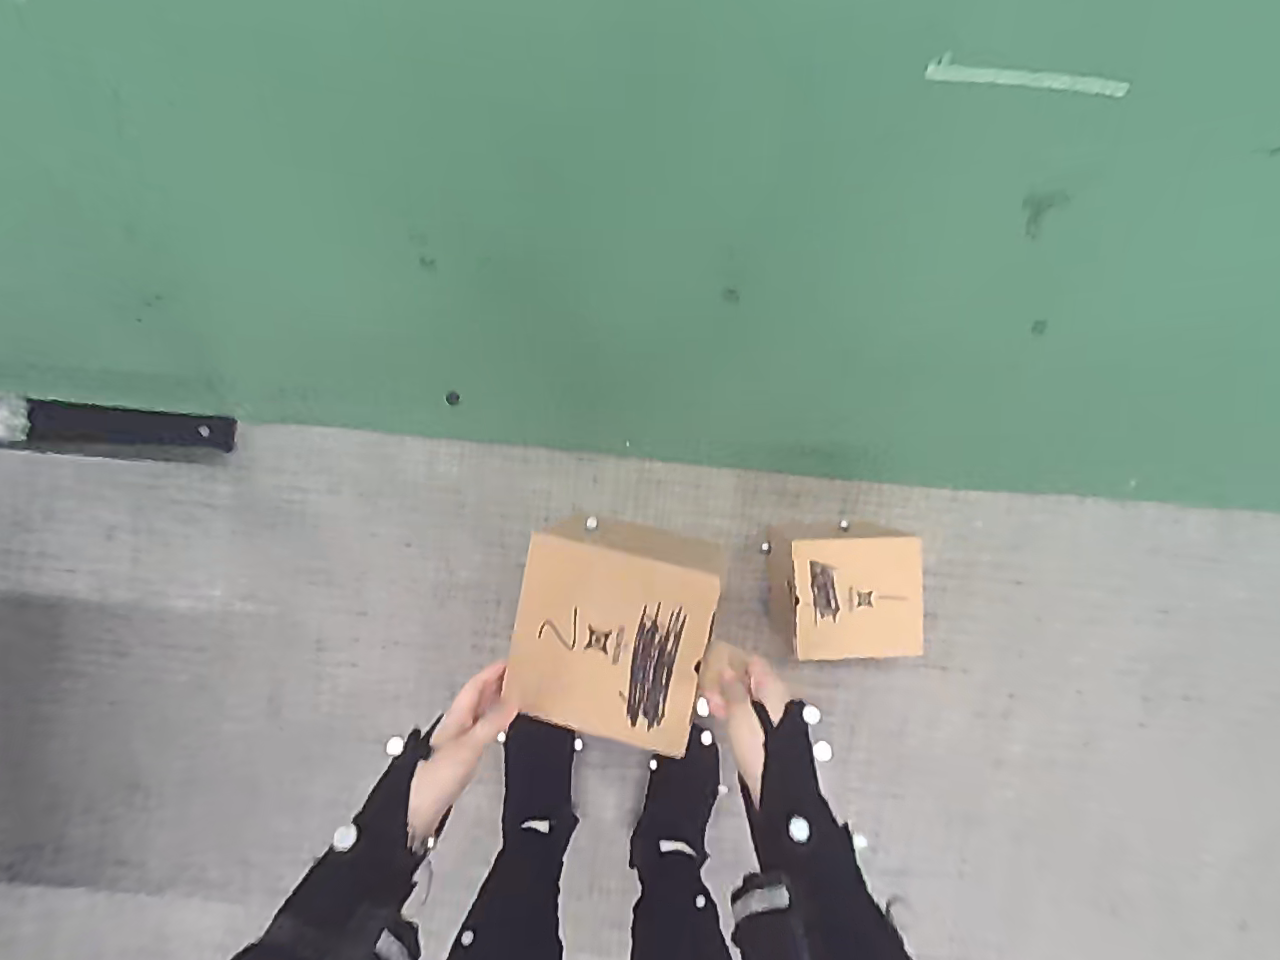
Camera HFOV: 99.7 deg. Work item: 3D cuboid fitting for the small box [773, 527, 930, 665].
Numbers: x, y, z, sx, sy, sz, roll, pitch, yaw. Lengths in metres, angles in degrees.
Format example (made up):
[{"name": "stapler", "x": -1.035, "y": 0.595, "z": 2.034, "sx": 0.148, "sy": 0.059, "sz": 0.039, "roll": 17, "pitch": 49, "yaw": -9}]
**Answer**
[{"name": "small box", "x": 0.297, "y": 0.162, "z": 0.797, "sx": 0.179, "sy": 0.176, "sz": 0.168, "roll": -2, "pitch": 92, "yaw": 1}]
